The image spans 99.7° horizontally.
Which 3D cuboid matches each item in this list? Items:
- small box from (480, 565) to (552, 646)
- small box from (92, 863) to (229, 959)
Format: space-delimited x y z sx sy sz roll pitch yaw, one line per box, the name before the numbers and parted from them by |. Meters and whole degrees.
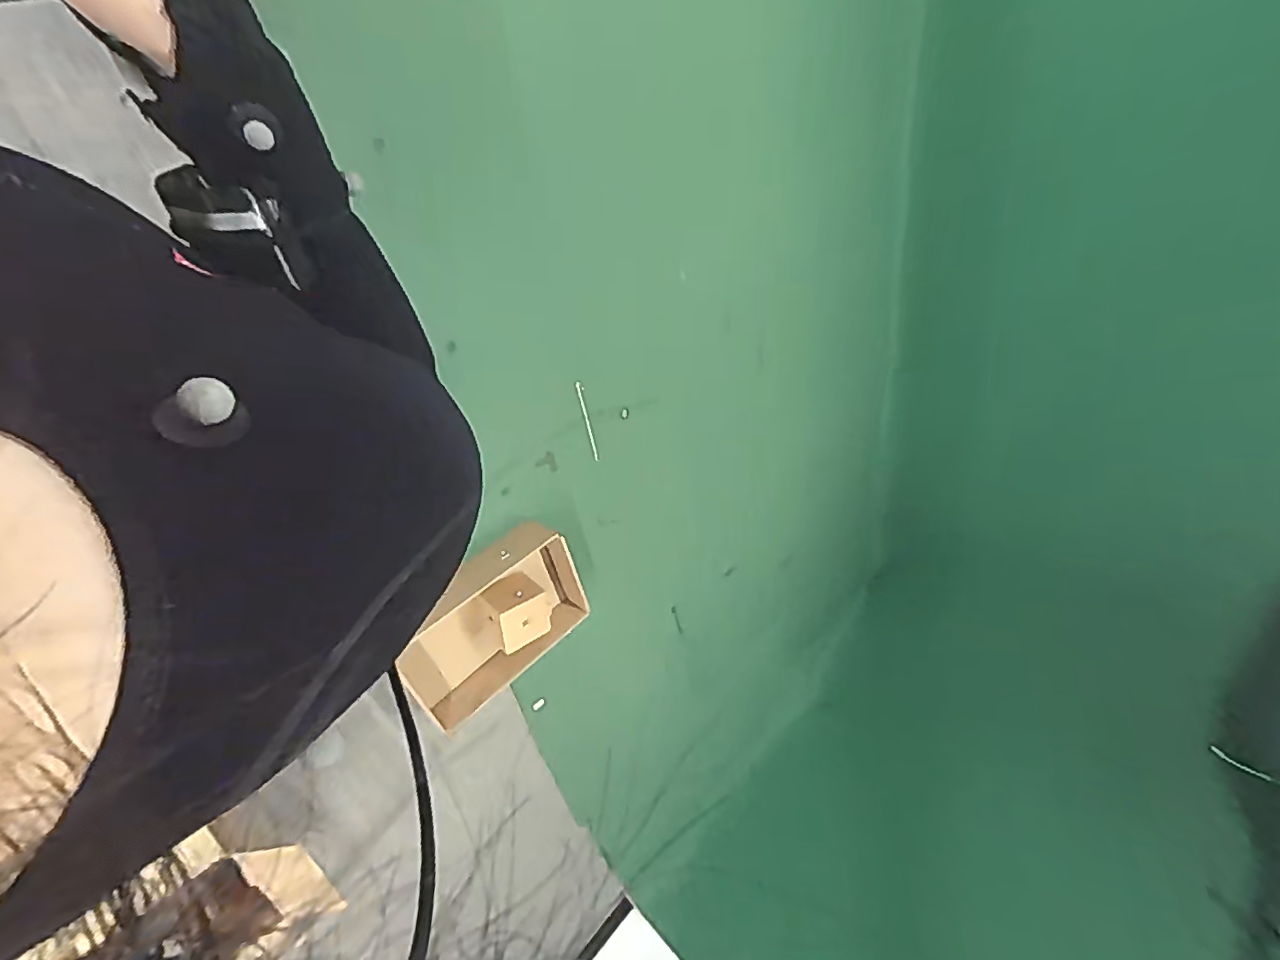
small box | -0.420 0.414 1.807 0.179 0.176 0.168 -23 123 -37
small box | -1.063 1.010 1.199 0.179 0.176 0.168 -33 126 -32
